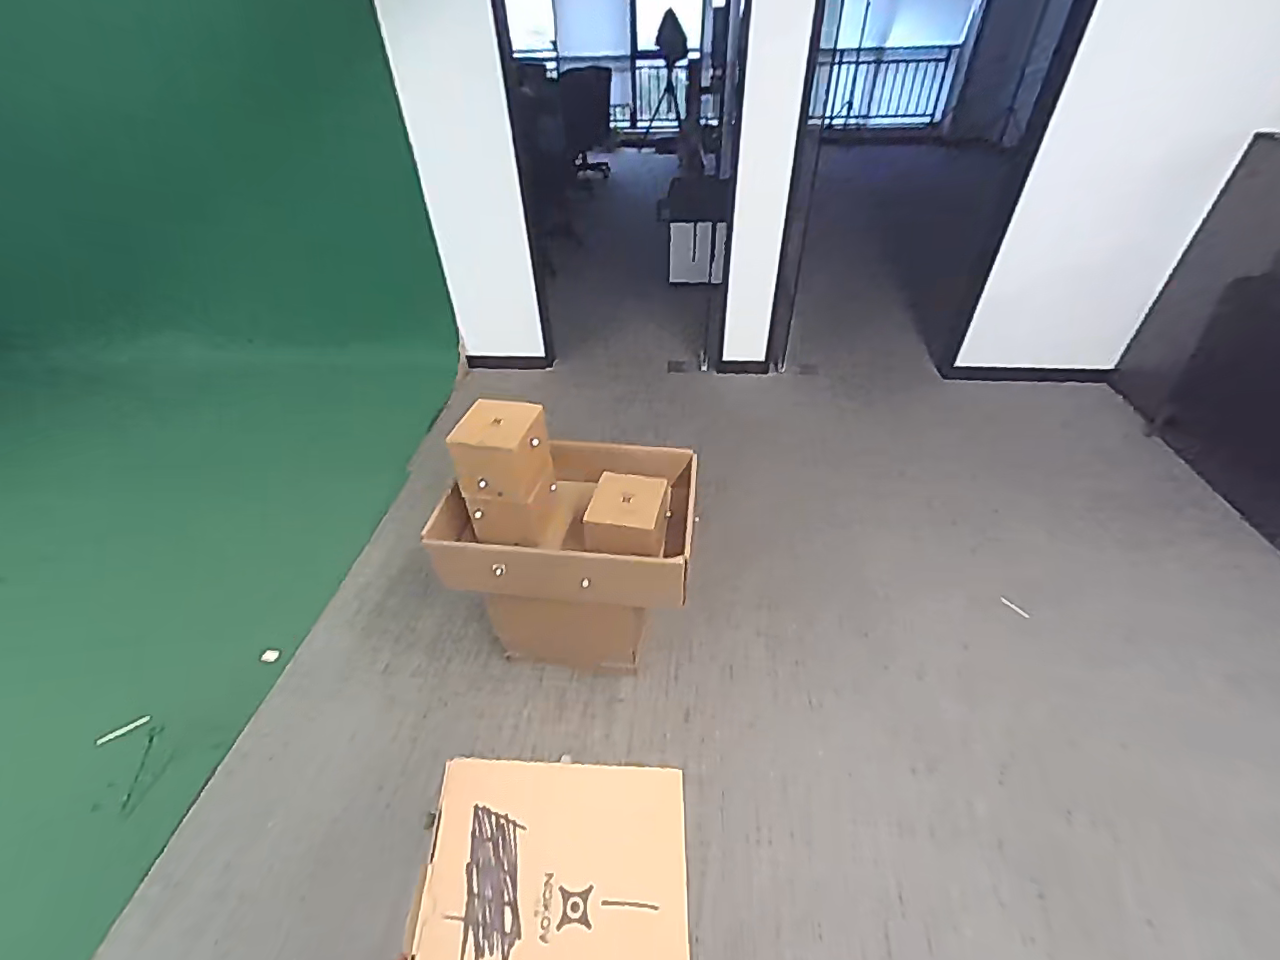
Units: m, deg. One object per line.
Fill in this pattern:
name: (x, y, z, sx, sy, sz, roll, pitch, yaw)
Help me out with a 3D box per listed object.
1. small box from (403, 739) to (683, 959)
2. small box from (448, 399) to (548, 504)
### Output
small box: (-0.078, 0.309, 0.420, 0.179, 0.176, 0.168, 11, 54, -14)
small box: (-0.326, -0.069, 1.282, 0.168, 0.176, 0.179, 7, 41, 10)
